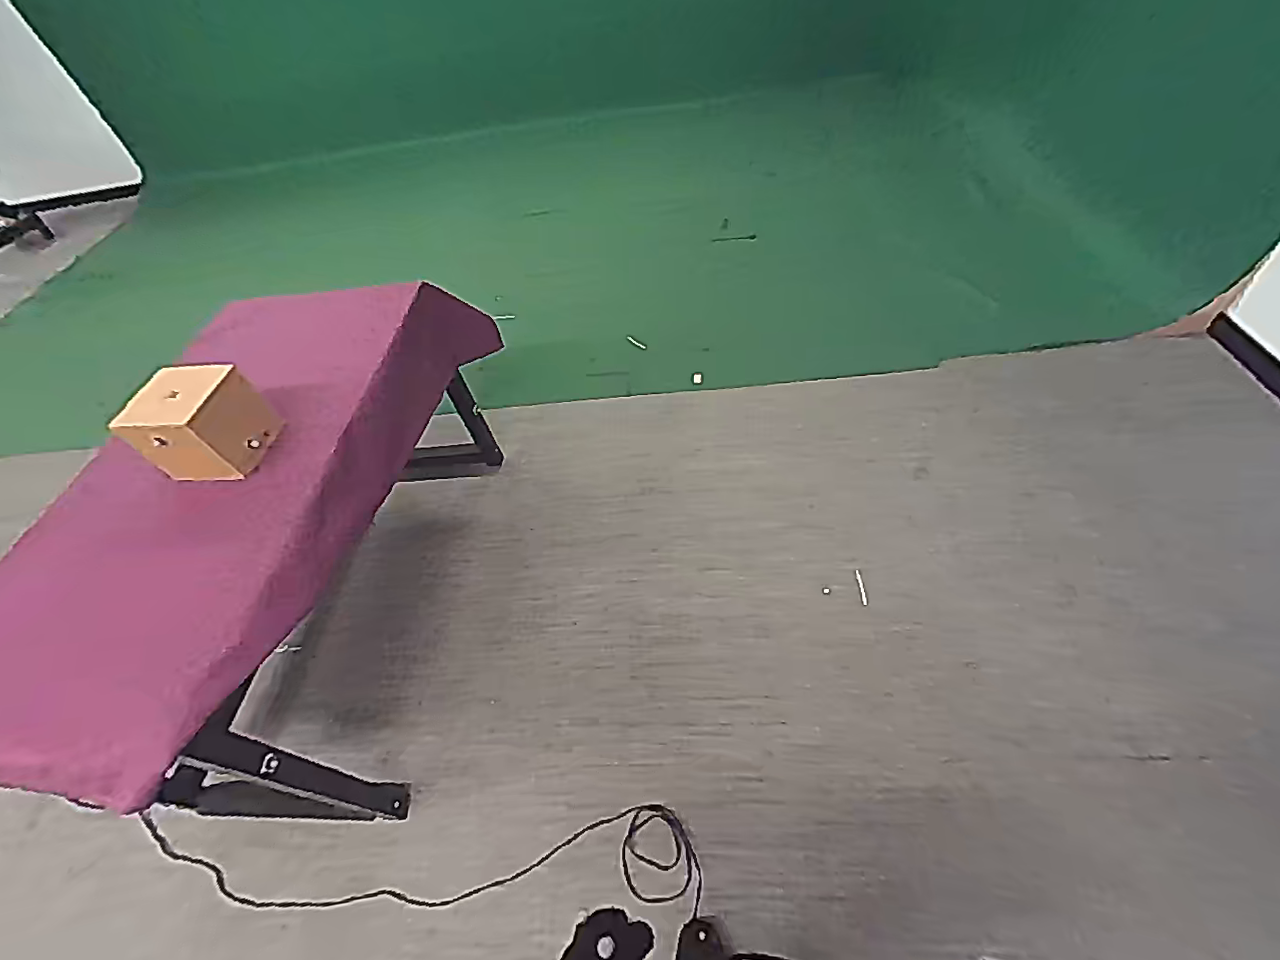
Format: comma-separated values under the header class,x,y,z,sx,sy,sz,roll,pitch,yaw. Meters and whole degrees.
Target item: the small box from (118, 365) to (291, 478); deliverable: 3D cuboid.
class,x,y,z,sx,sy,sz,roll,pitch,yaw
small box,-0.875,-0.115,1.107,0.179,0.176,0.168,0,53,10
